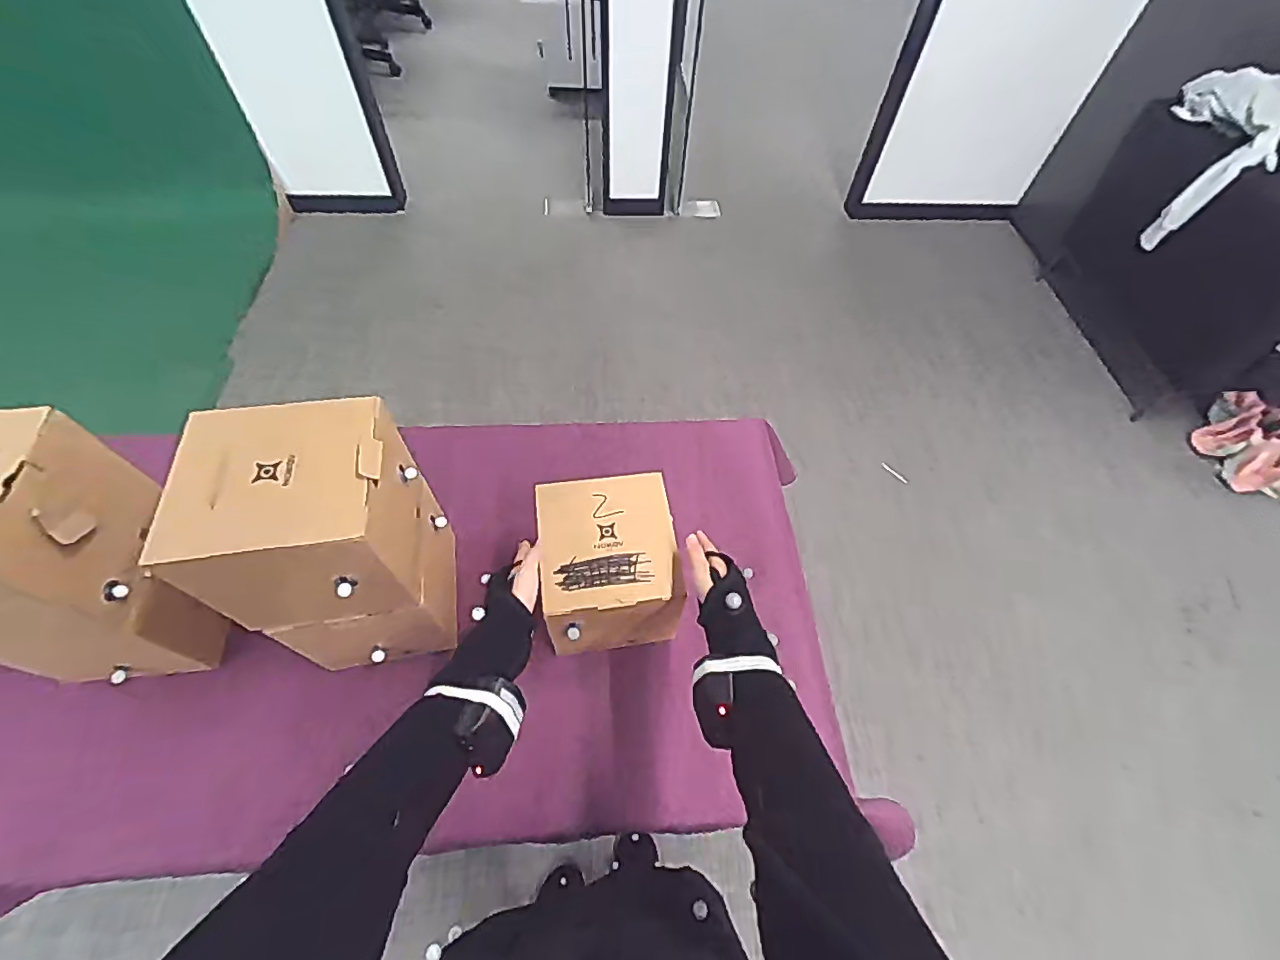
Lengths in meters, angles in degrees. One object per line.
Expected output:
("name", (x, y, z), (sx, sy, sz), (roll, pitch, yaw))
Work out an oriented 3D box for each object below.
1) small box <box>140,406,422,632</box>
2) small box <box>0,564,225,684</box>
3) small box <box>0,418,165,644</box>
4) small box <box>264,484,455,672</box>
("small box", (-0.339, 0.045, 0.561), (0.179, 0.176, 0.168), (-6, 57, -7))
("small box", (-0.642, 0.146, 0.671), (0.179, 0.176, 0.168), (-3, 57, -6))
("small box", (-0.633, 0.057, 0.533), (0.179, 0.176, 0.168), (-4, 58, -5))
("small box", (-0.344, 0.130, 0.700), (0.168, 0.176, 0.179), (-8, 59, -8))
